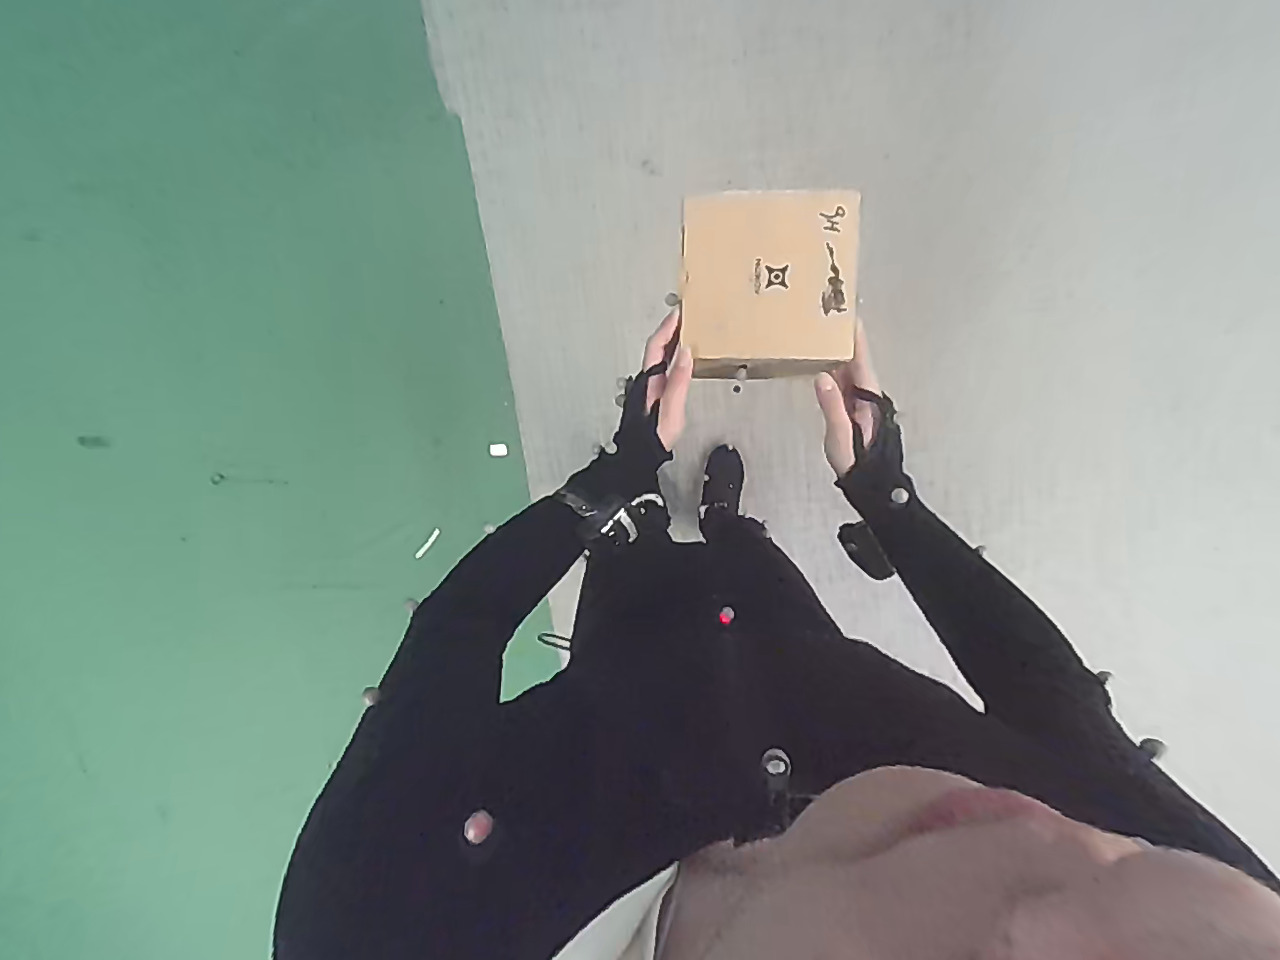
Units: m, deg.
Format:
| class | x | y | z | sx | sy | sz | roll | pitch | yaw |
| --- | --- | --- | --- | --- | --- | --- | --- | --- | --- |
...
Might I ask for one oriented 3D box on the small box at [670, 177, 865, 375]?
| class | x | y | z | sx | sy | sz | roll | pitch | yaw |
| --- | --- | --- | --- | --- | --- | --- | --- | --- | --- |
| small box | 0.127 | -0.207 | 0.592 | 0.179 | 0.176 | 0.168 | 2 | 95 | 5 |
